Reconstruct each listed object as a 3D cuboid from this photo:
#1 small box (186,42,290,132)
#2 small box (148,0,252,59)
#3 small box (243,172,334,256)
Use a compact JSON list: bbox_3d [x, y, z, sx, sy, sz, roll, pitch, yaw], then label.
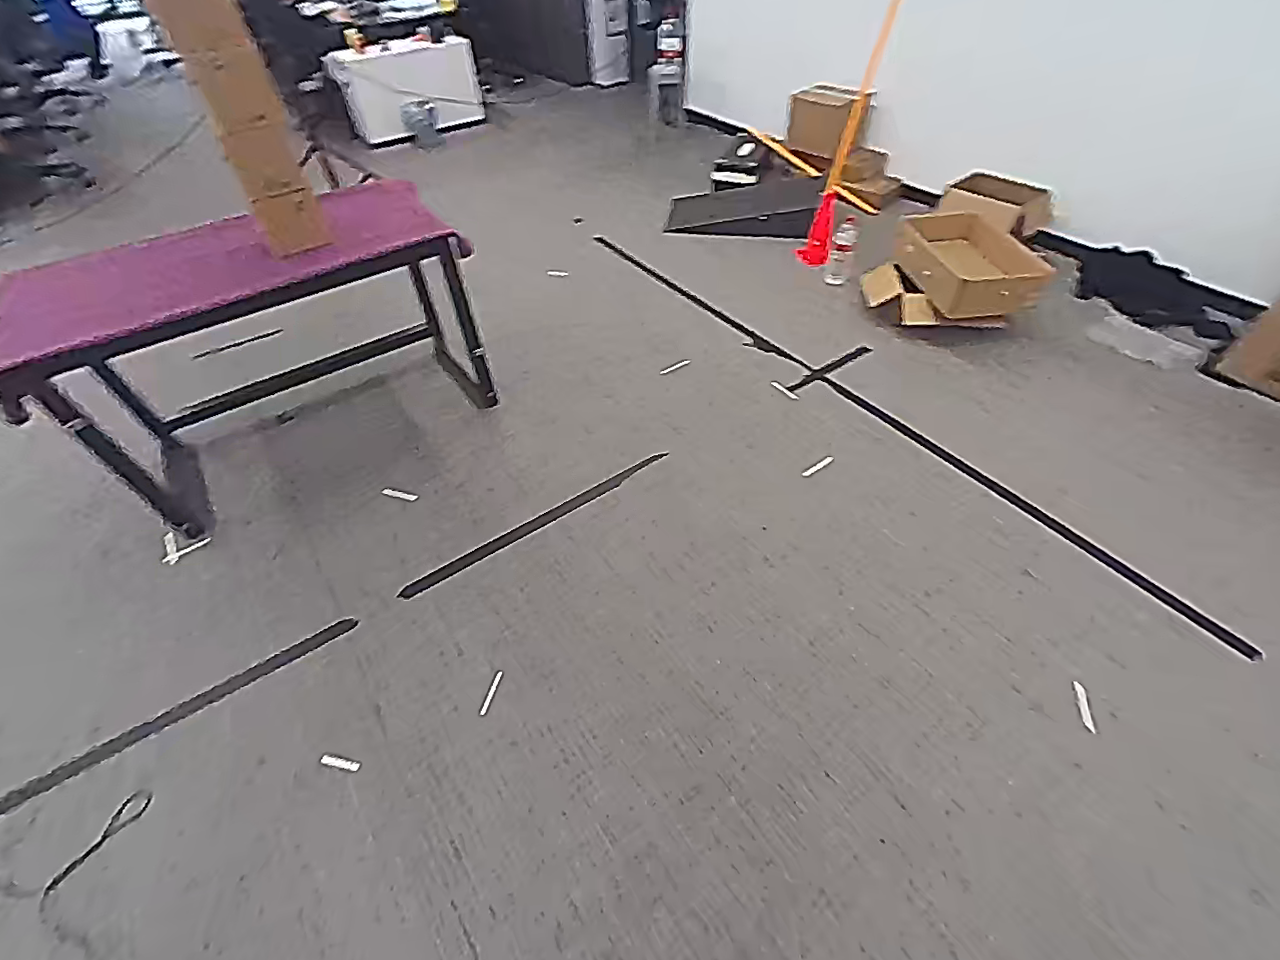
[{"bbox_3d":[-1.078,-1.054,1.447,0.168,0.176,0.179,-30,54,-22],"label":"small box"},{"bbox_3d":[-1.095,-1.166,1.329,0.179,0.176,0.168,-31,54,-23],"label":"small box"},{"bbox_3d":[-1.083,-0.827,1.683,0.179,0.176,0.168,-31,53,-22],"label":"small box"}]
